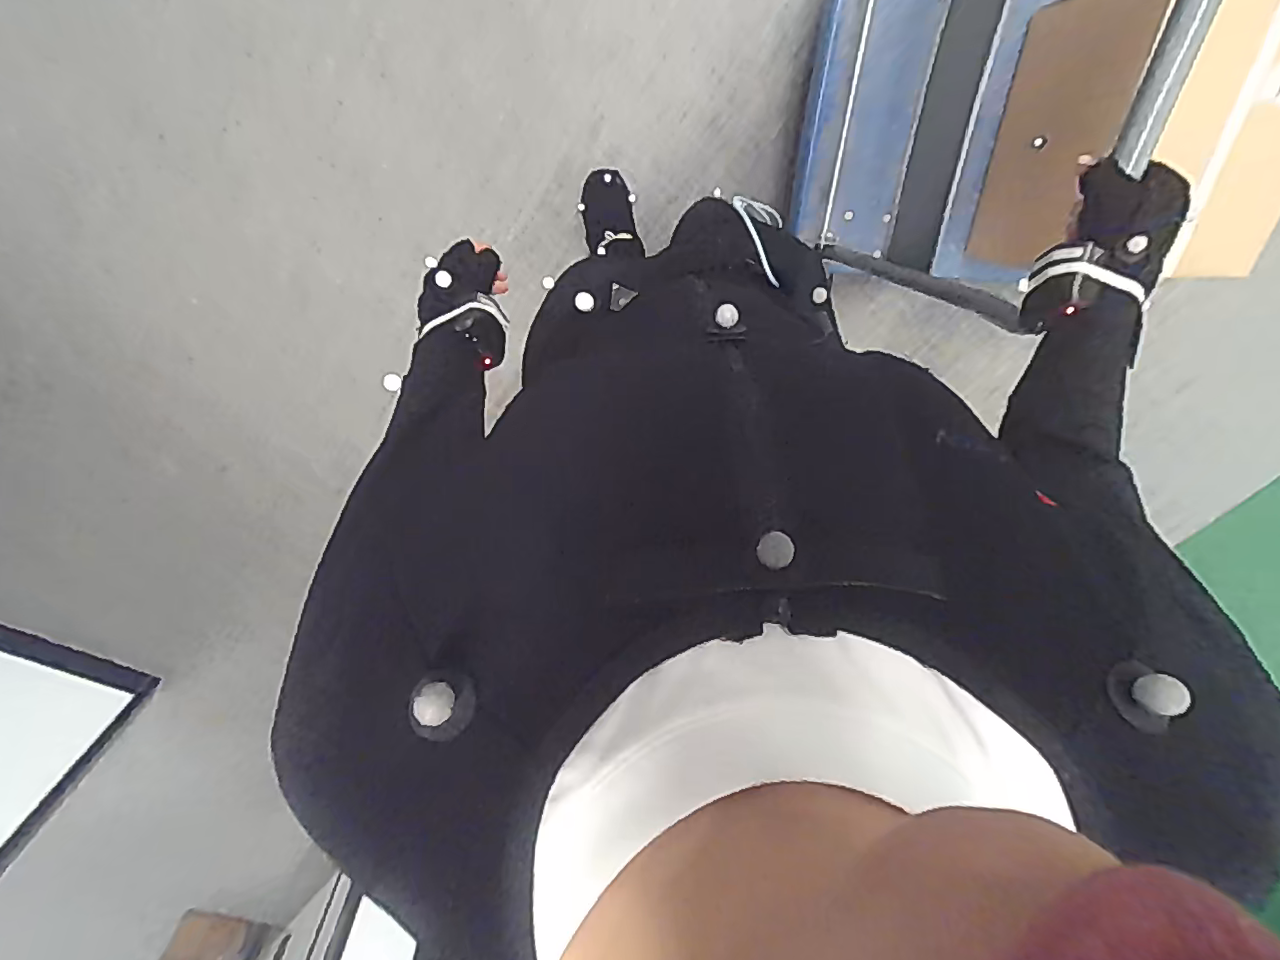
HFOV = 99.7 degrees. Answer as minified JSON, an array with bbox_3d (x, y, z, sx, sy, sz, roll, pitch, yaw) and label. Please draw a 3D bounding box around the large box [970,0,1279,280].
[{"bbox_3d":[0.845,-0.580,0.928,0.320,0.320,0.408,-2,119,-2],"label":"large box"}]
